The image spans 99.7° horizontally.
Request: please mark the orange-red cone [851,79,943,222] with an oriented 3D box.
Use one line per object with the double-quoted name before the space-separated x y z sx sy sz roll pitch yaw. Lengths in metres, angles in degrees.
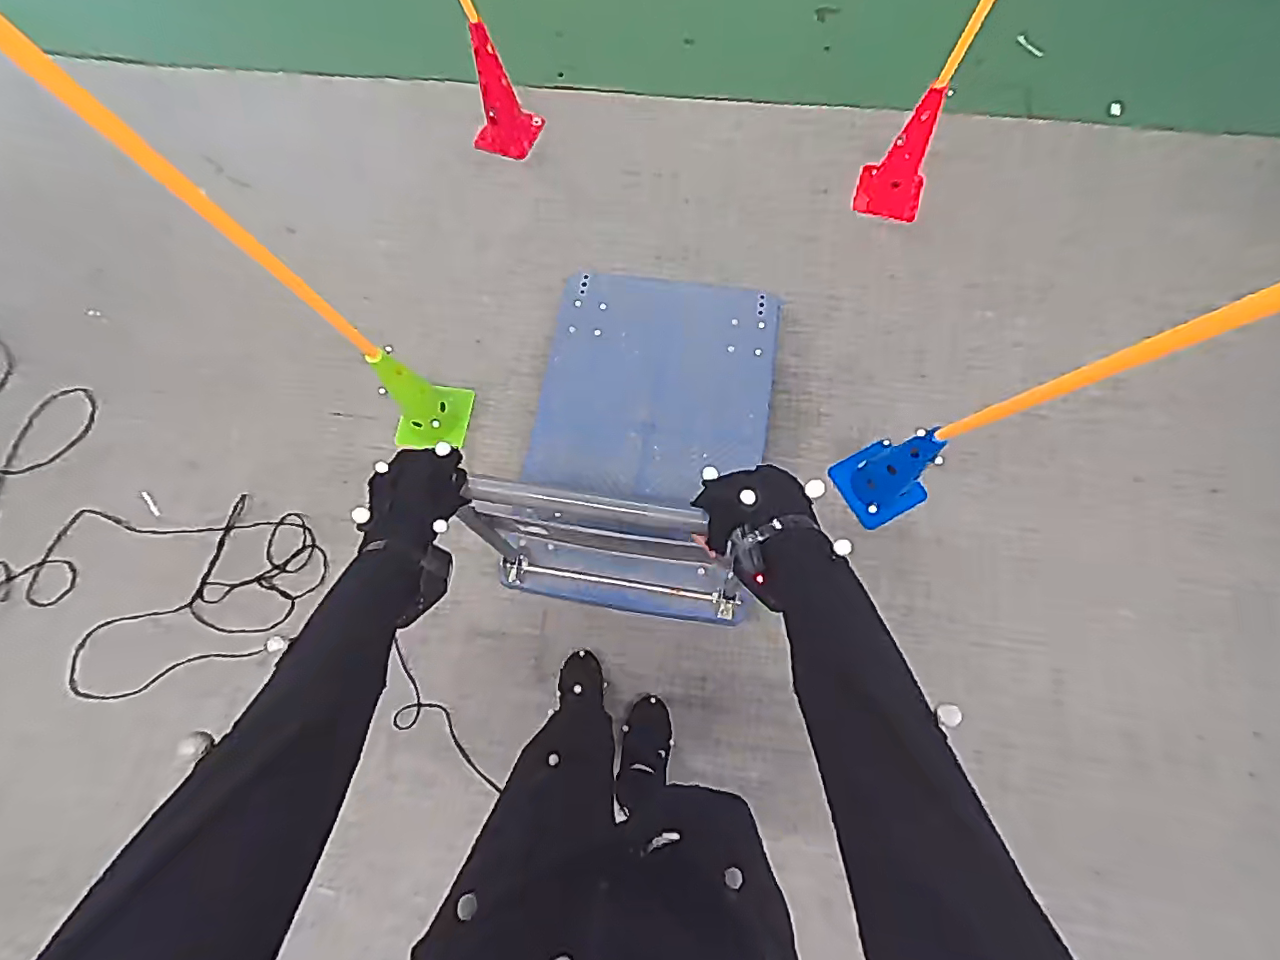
"orange-red cone" 0.775 -0.964 1.557 0.198 0.360 0.199 18 75 9
